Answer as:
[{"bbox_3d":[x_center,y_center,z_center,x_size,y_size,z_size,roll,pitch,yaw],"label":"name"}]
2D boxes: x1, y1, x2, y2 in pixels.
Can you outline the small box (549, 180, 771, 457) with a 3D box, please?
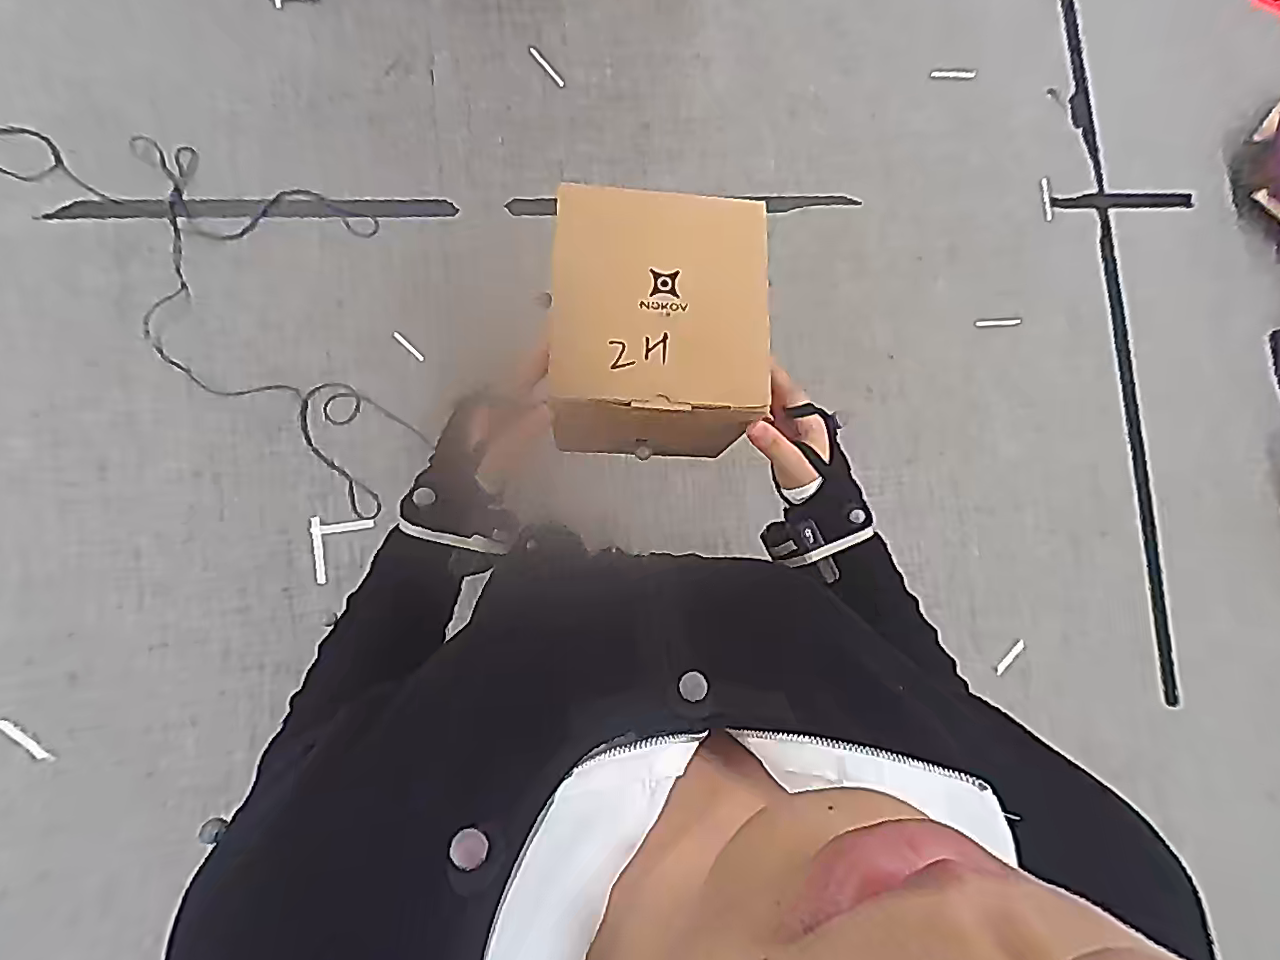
[{"bbox_3d":[0.010,-0.127,0.484,0.168,0.176,0.179,2,79,-5],"label":"small box"}]
